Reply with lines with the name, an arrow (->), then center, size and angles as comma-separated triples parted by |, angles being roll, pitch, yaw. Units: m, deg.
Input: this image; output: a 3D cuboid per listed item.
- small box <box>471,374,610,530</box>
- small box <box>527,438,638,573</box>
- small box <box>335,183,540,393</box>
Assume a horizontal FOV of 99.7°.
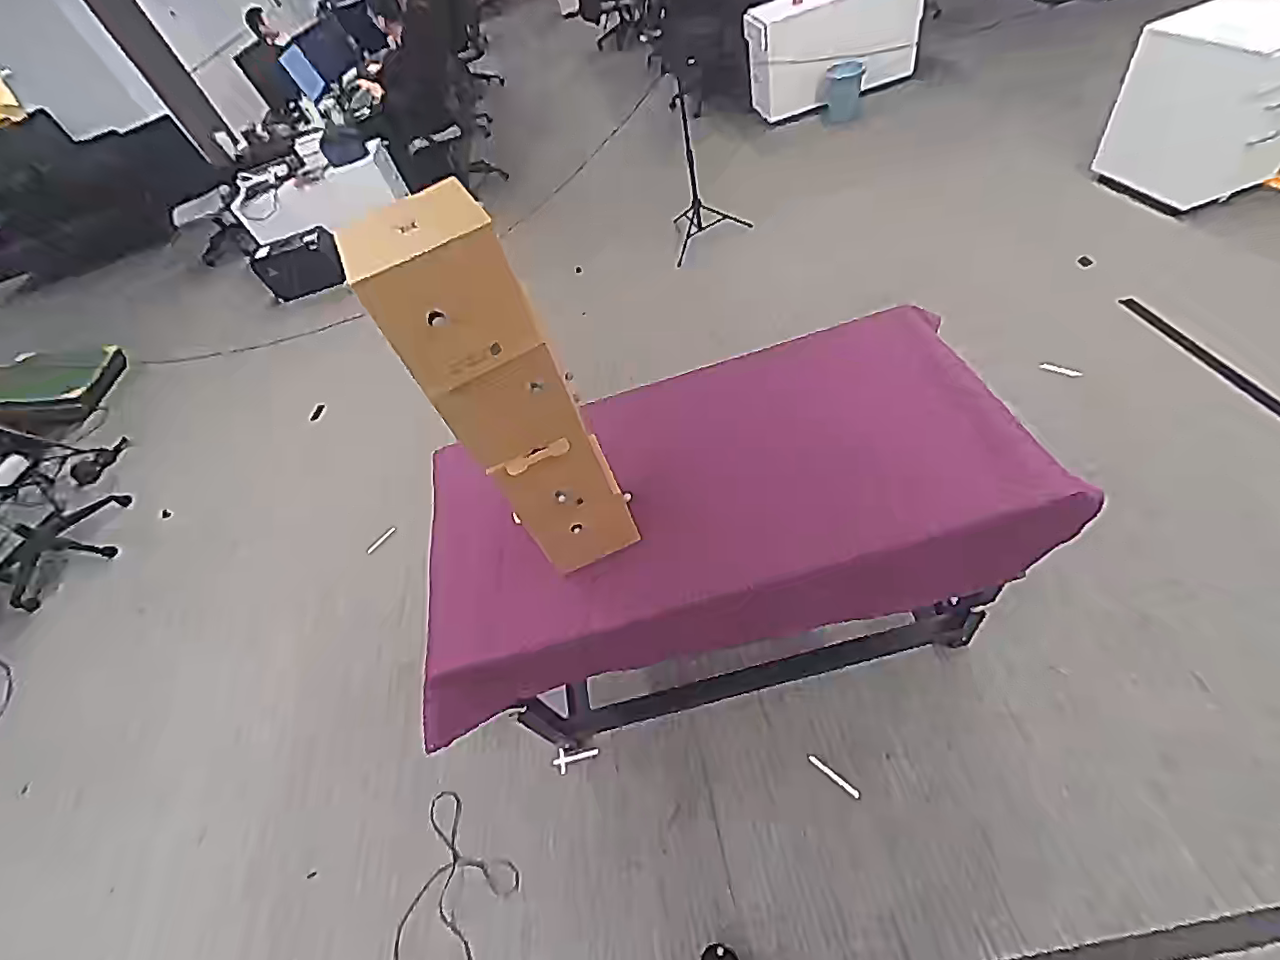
small box -> -0.170, -0.046, 0.938 | 0.168, 0.176, 0.179 | -25, 50, -3
small box -> -0.123, 0.055, 1.059 | 0.179, 0.176, 0.168 | -24, 50, -4
small box -> -0.248, -0.234, 0.681 | 0.168, 0.176, 0.179 | -30, 50, -9
